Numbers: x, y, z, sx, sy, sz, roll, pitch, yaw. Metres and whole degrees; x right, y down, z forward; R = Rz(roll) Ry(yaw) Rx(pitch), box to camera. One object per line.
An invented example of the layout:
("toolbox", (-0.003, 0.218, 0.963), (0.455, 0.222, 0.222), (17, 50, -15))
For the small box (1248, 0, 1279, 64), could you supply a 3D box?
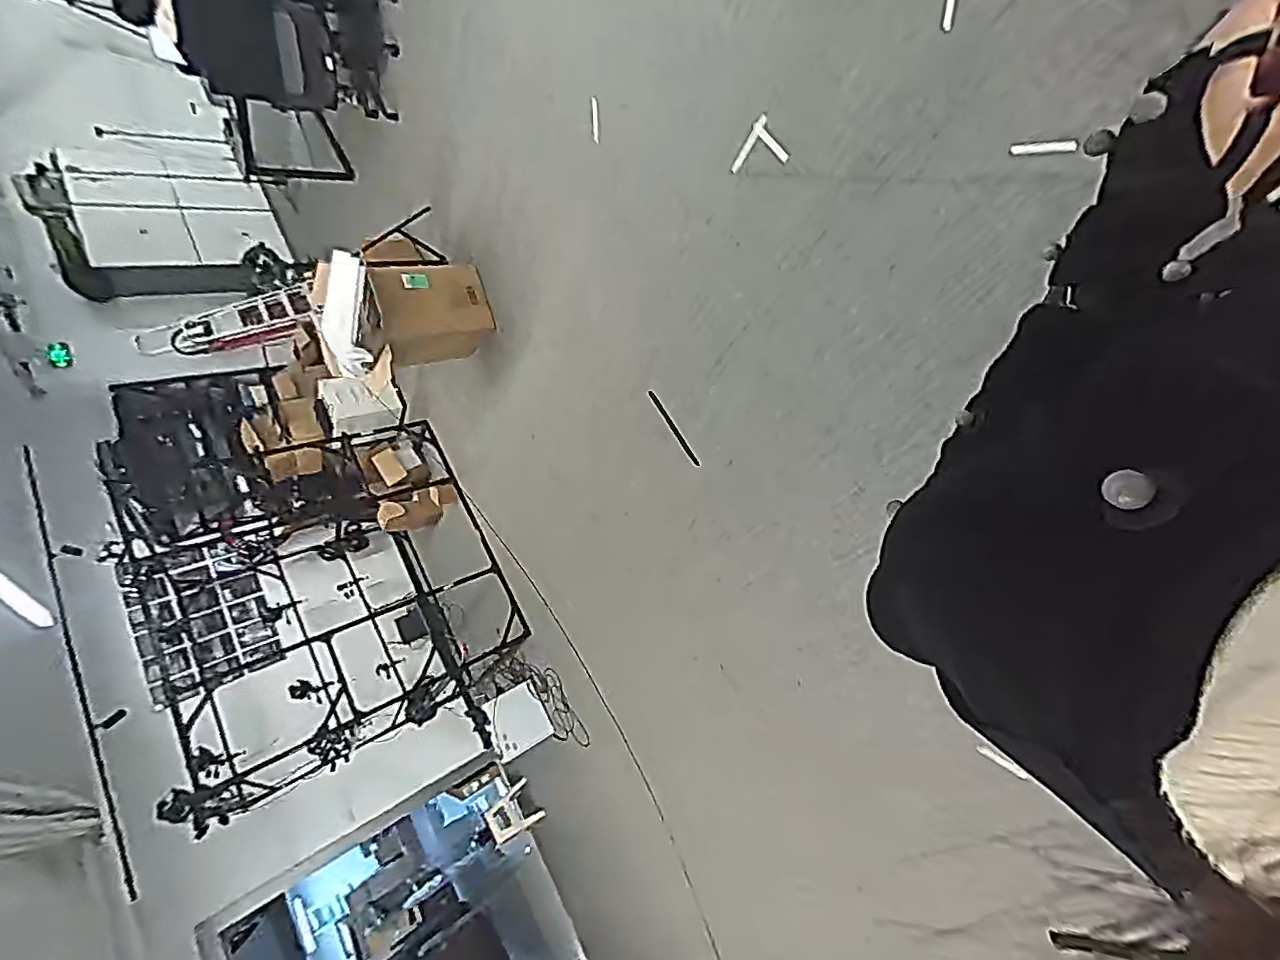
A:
("small box", (0.430, -0.288, 0.232), (0.179, 0.176, 0.168), (29, 133, 35))
